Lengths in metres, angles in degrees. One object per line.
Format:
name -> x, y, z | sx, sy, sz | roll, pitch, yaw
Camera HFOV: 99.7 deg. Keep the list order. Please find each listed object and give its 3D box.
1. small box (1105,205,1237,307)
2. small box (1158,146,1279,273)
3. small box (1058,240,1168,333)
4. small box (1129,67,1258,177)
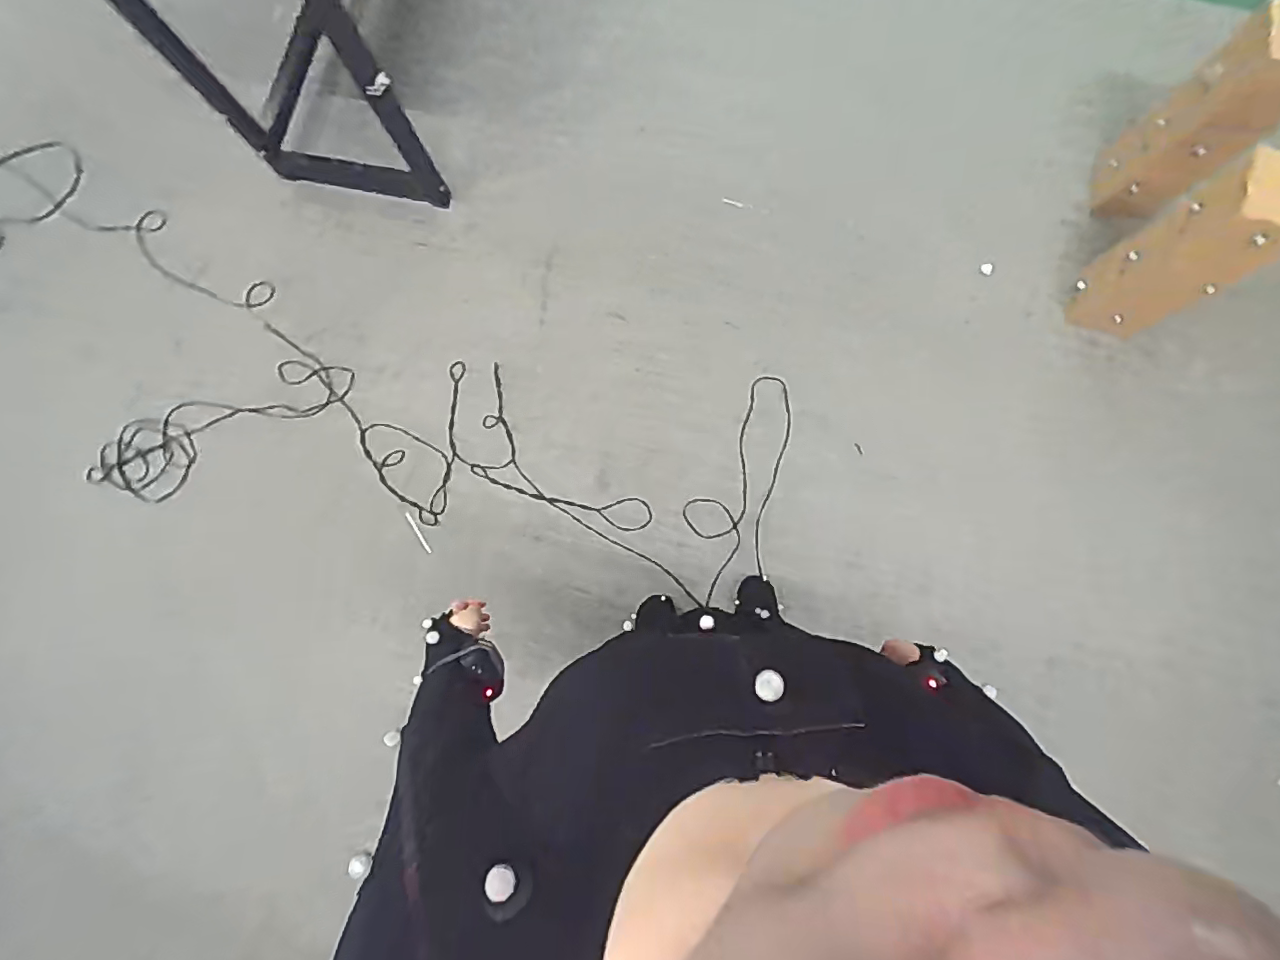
small box -> 1.334, -0.557, 1.356 | 0.179, 0.176, 0.168 | 16, 81, 5
small box -> 1.325, -0.587, 1.197 | 0.179, 0.176, 0.168 | 19, 83, 5
small box -> 1.337, -0.535, 1.520 | 0.179, 0.176, 0.168 | 18, 82, 6
small box -> 1.434, -0.926, 1.411 | 0.179, 0.176, 0.168 | 10, 81, 4
